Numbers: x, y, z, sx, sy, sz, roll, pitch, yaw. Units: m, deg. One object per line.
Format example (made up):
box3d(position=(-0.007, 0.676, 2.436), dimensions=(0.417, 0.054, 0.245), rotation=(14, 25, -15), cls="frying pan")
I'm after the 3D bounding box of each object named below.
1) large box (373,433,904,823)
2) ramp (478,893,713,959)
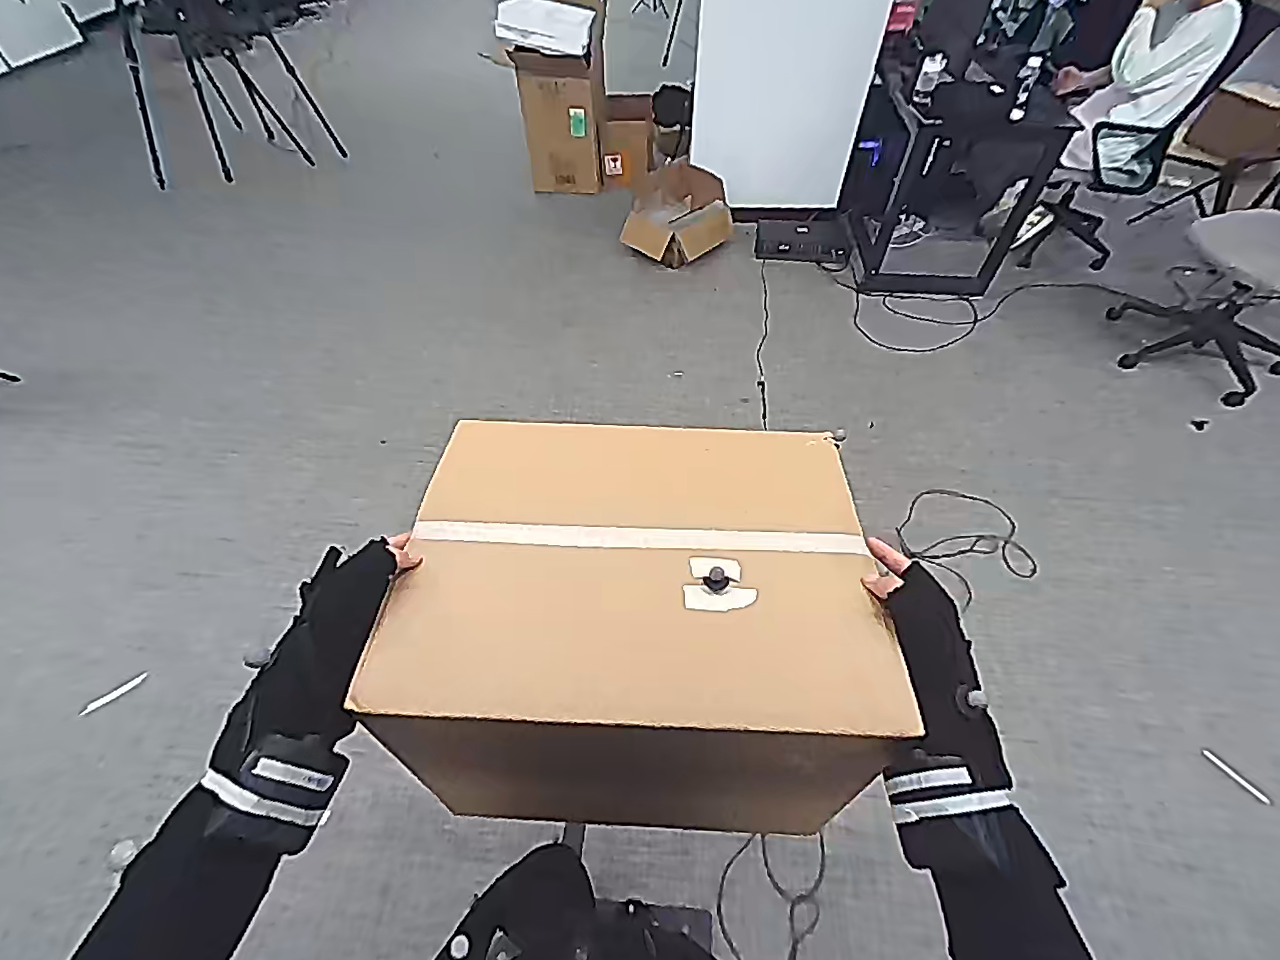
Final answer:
box3d(position=(-0.001, 0.166, 0.605), dimensions=(0.408, 0.320, 0.320), rotation=(3, 47, 1), cls="large box")
box3d(position=(-0.127, 1.264, 0.824), dimensions=(0.509, 0.206, 0.991), rotation=(1, 51, 3), cls="ramp")
